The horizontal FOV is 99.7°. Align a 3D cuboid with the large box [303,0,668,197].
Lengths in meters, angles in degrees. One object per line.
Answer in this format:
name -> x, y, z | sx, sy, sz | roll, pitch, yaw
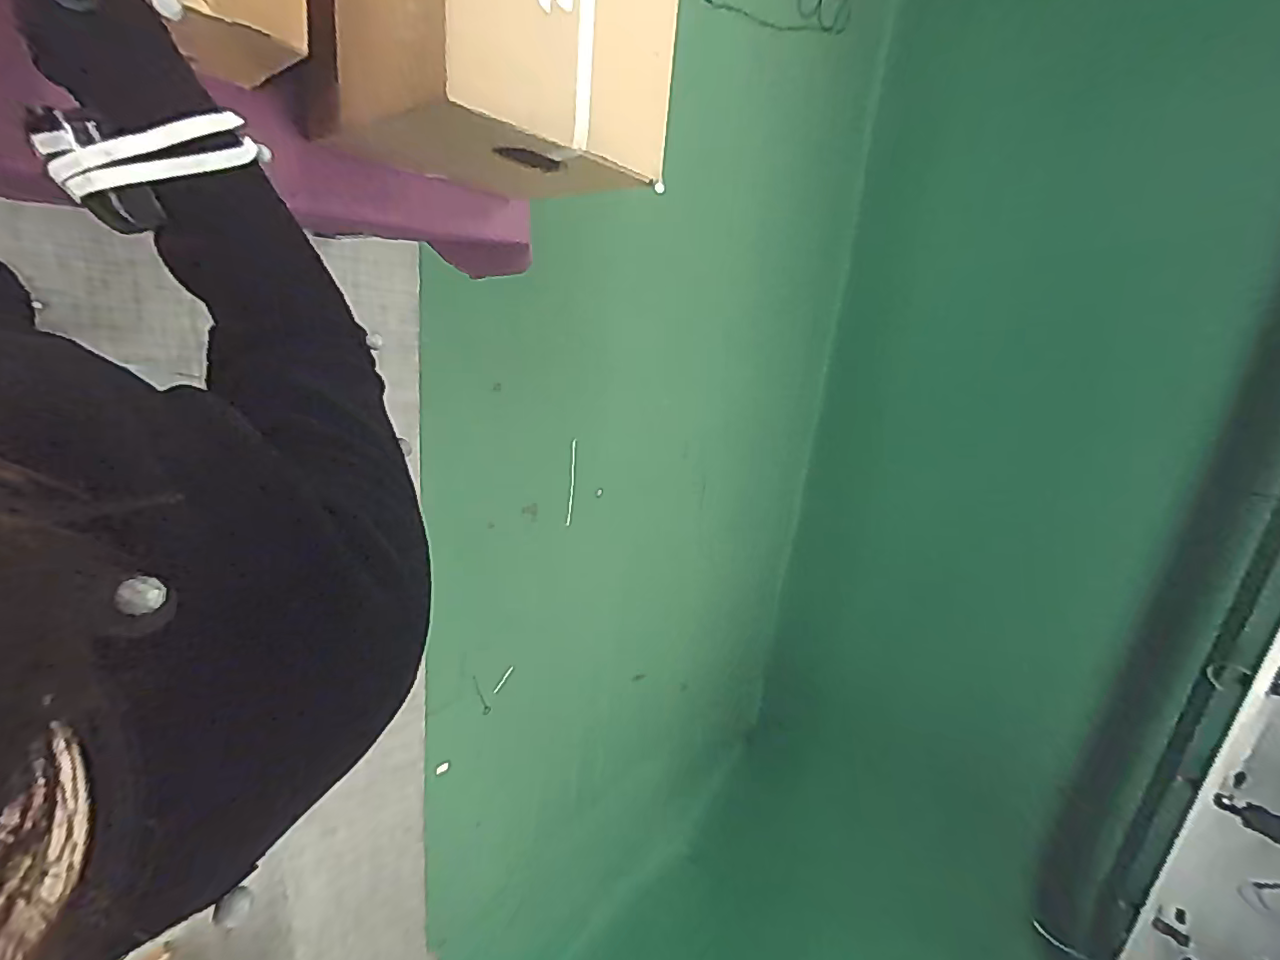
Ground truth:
large box -> -0.177, -0.593, 0.638 | 0.320, 0.320, 0.408 | -14, 116, -49
